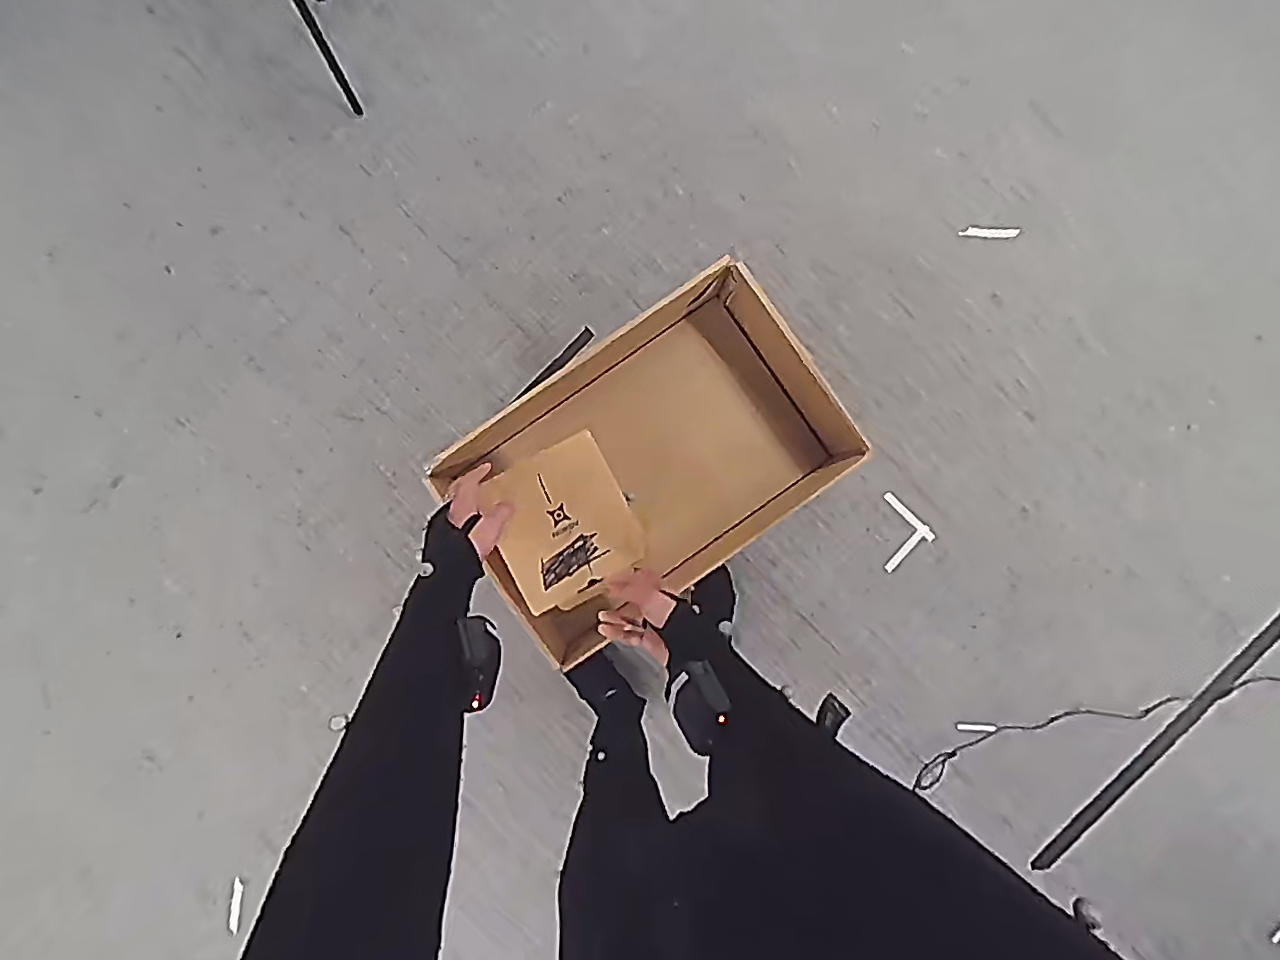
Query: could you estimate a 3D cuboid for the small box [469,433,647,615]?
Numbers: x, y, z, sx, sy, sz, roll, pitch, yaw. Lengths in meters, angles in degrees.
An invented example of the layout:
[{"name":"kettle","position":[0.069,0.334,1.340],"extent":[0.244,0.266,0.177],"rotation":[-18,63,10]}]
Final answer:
[{"name":"small box","position":[-0.100,0.055,0.738],"extent":[0.168,0.176,0.179],"rotation":[-28,89,-2]}]
